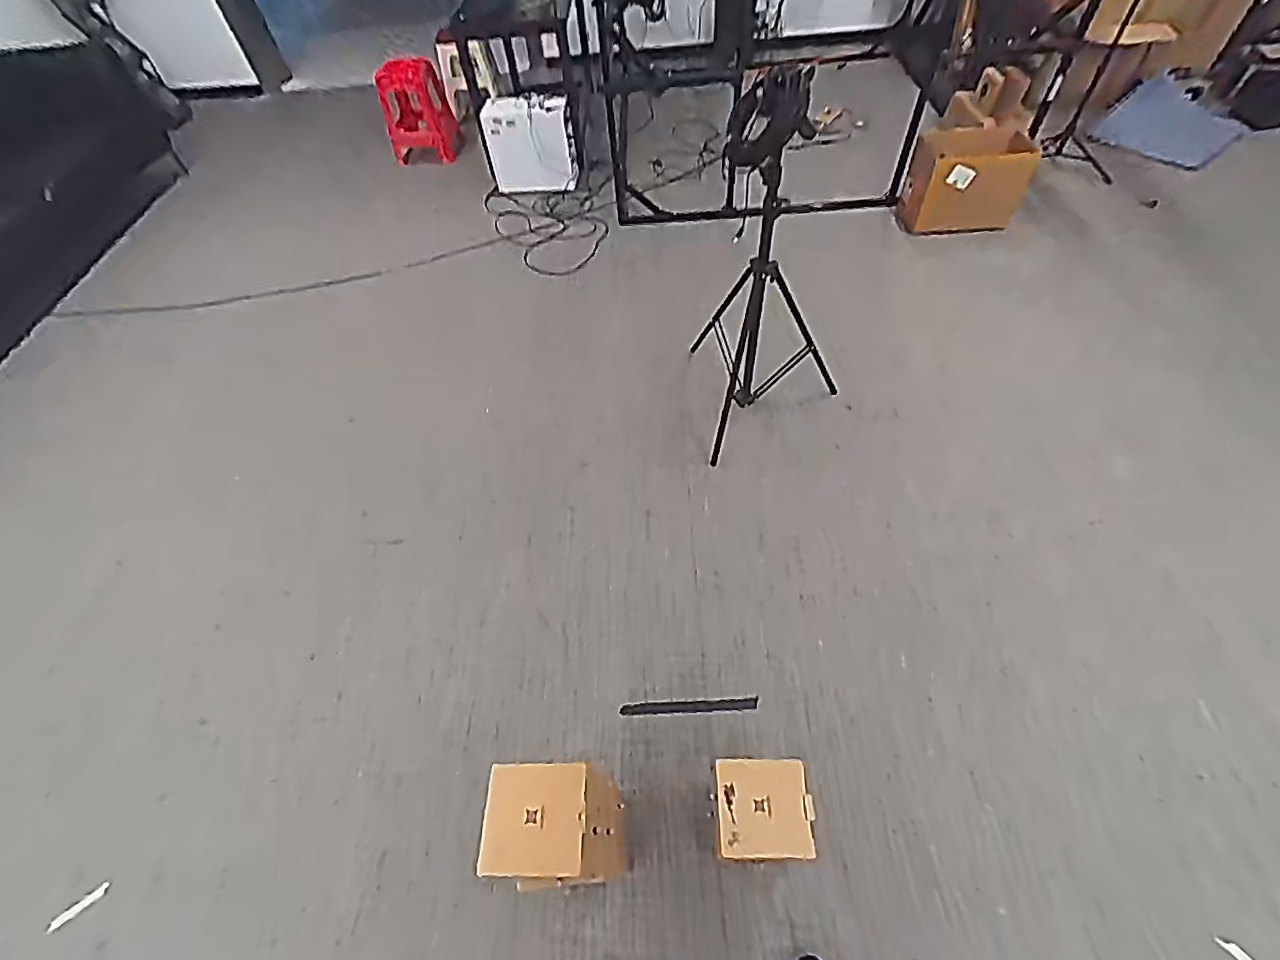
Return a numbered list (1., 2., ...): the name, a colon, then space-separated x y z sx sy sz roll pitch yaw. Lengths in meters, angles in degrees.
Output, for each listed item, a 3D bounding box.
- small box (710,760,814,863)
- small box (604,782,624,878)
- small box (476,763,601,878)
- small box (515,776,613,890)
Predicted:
1. small box: 0.239 0.677 1.102 0.179 0.176 0.168 0 54 3
2. small box: -0.130 0.812 1.239 0.168 0.176 0.179 -8 54 0
3. small box: -0.173 0.618 0.980 0.179 0.176 0.168 -2 54 4
4. small box: -0.149 0.721 1.104 0.168 0.176 0.179 -7 55 1
